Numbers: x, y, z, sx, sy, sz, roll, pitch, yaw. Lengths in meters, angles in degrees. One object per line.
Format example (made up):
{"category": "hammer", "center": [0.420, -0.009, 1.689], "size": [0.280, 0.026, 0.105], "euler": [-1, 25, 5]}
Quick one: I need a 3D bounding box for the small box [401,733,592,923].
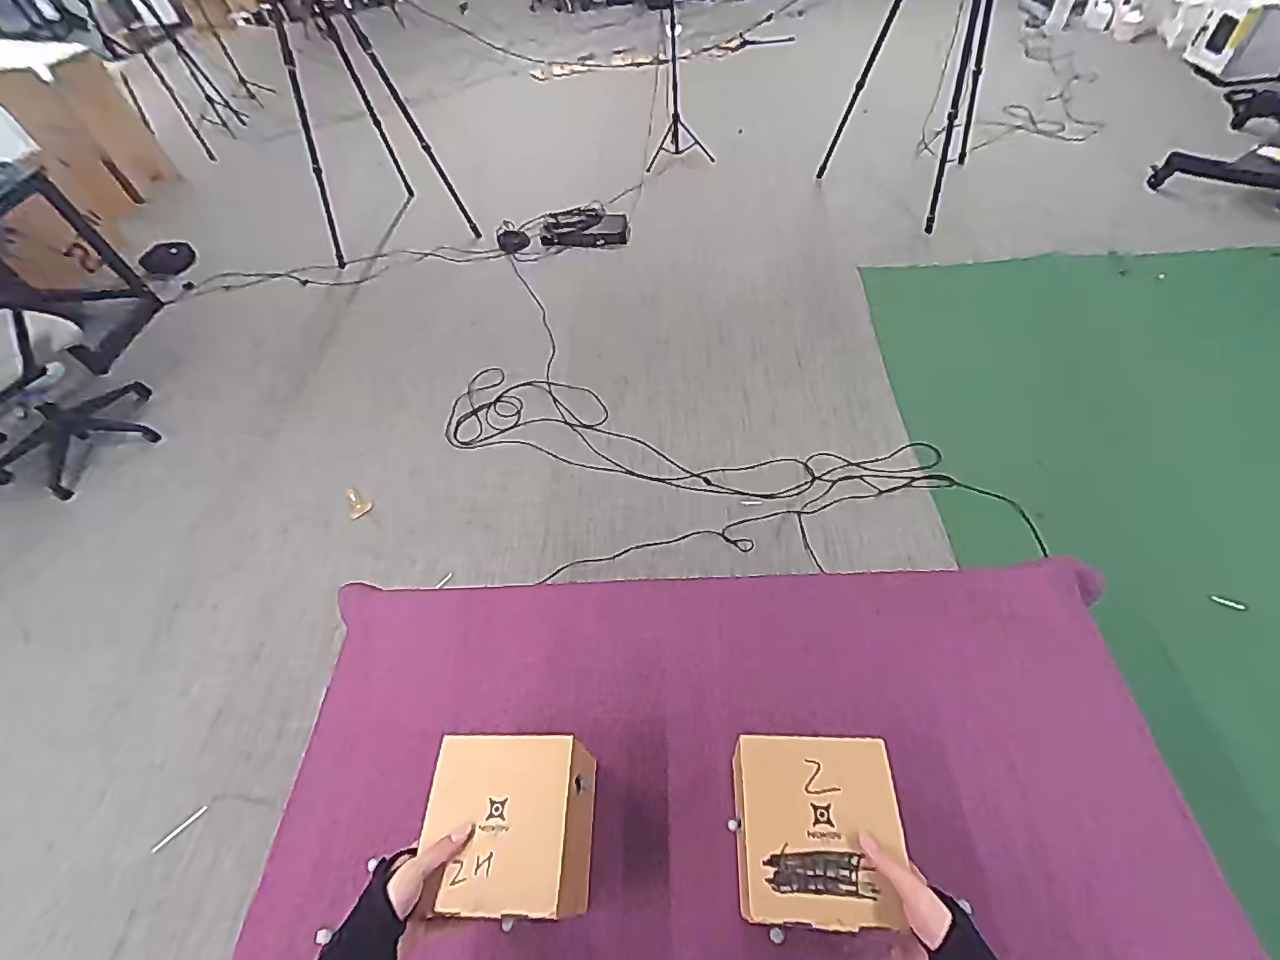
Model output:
{"category": "small box", "center": [-0.156, 0.424, 0.663], "size": [0.168, 0.176, 0.179], "euler": [-2, 53, 6]}
